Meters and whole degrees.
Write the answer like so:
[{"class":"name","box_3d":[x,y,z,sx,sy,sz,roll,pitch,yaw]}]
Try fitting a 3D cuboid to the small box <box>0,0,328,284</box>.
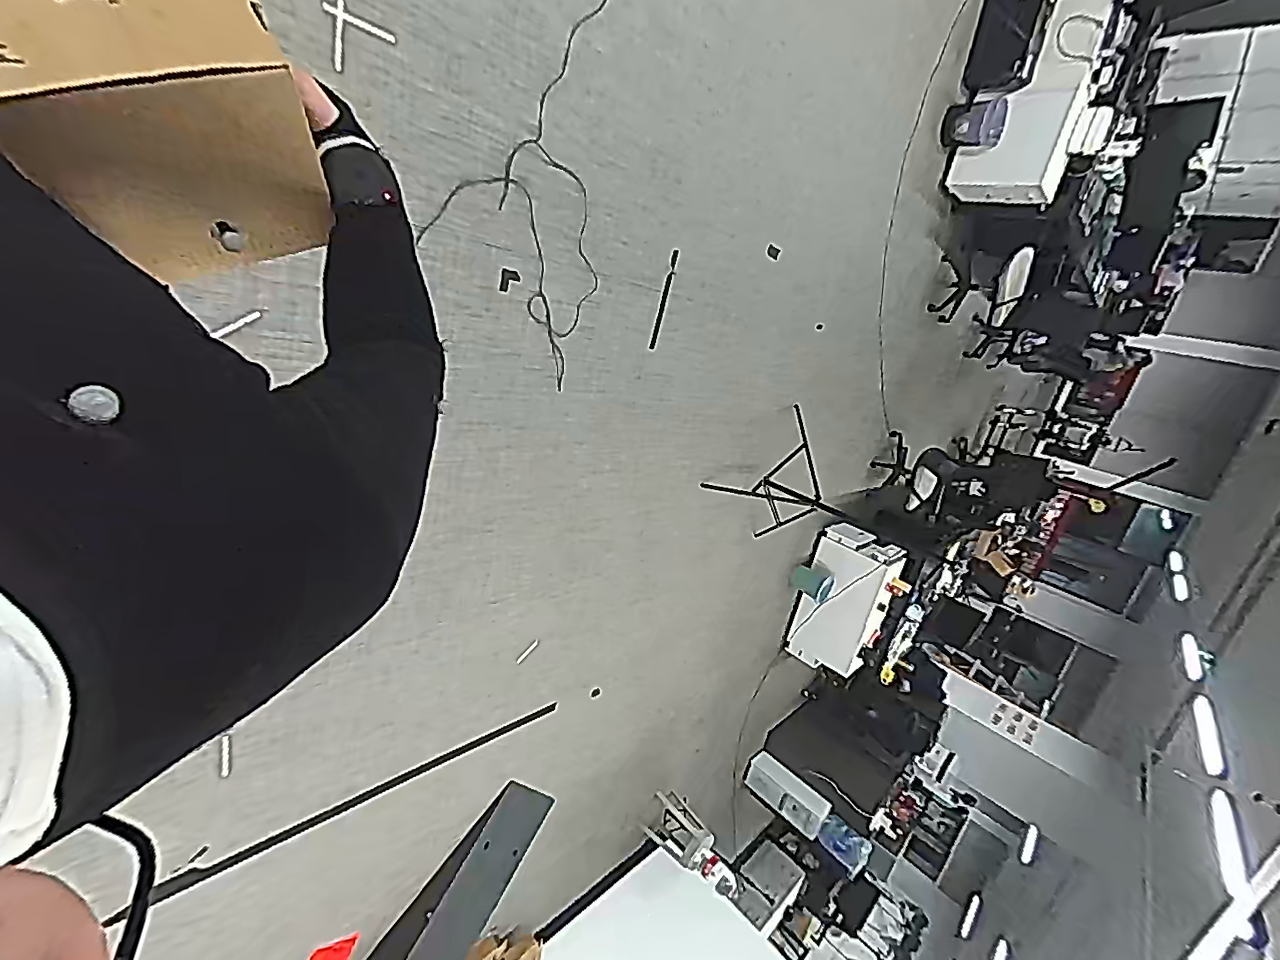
[{"class":"small box","box_3d":[-0.379,-0.293,0.436,0.179,0.168,0.176,-28,171,-24]}]
